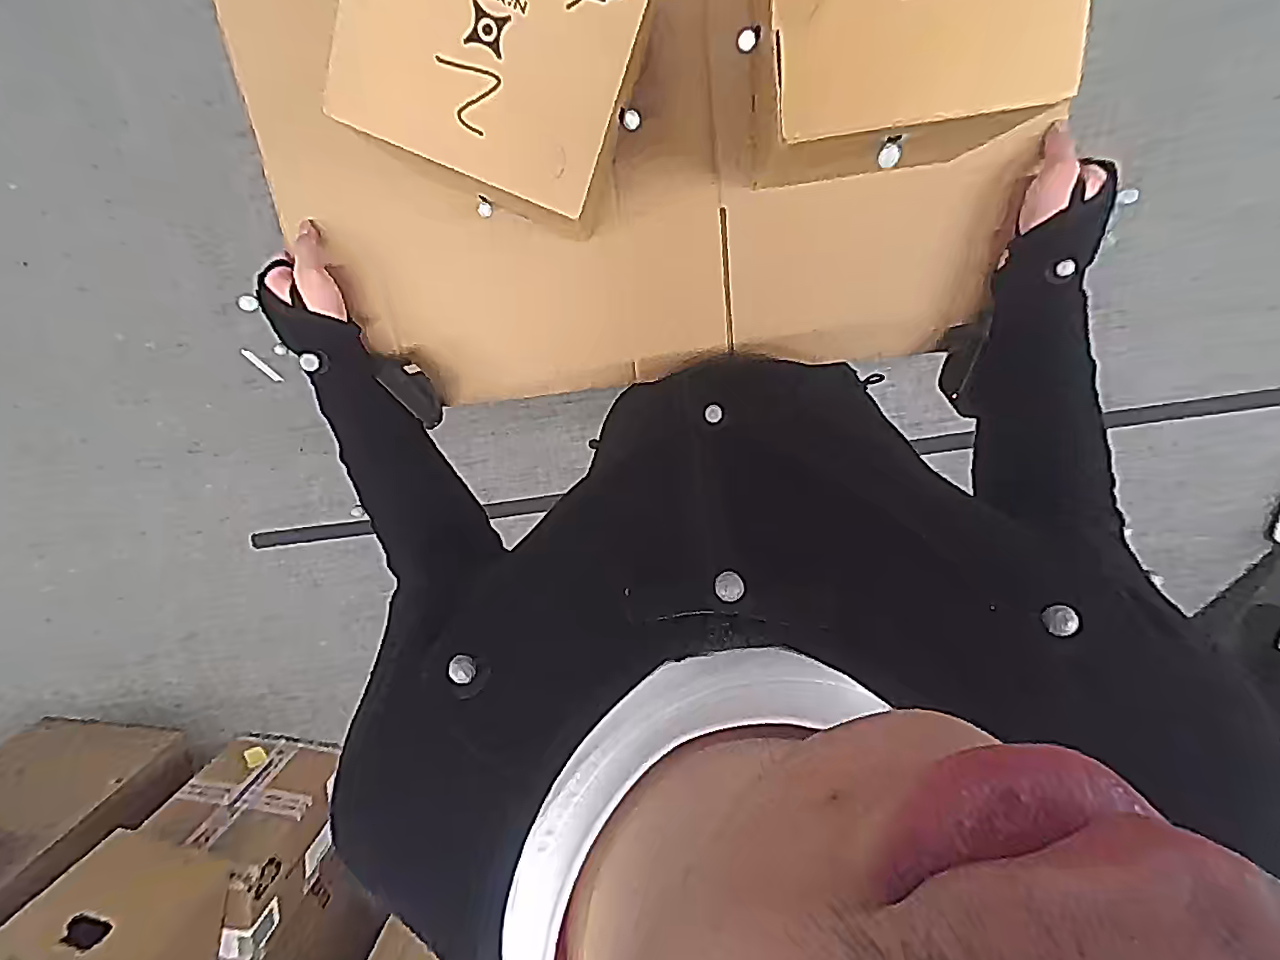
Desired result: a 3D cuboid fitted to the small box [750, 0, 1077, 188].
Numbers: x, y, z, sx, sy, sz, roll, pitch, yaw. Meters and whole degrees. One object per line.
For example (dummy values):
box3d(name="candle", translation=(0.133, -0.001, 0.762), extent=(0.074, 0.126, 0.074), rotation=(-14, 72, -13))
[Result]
box3d(name="small box", translation=(0.179, -0.329, 0.399), extent=(0.179, 0.176, 0.168), rotation=(-4, 109, 8))
